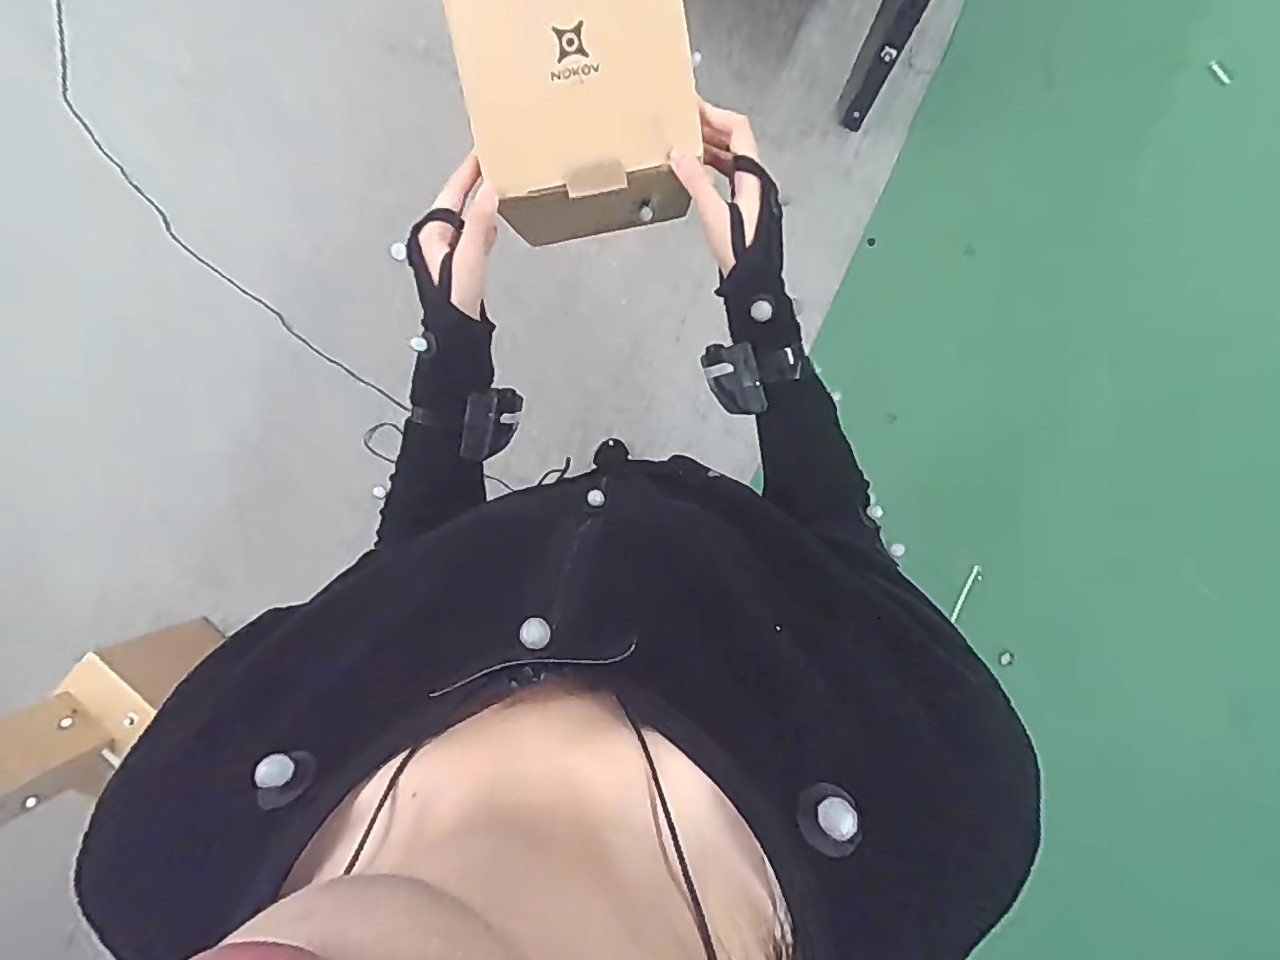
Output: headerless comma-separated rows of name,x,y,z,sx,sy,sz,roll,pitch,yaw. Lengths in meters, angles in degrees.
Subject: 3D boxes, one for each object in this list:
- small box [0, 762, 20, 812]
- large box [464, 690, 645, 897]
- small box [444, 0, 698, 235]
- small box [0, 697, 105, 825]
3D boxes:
small box,-1.366,0.617,1.019,0.179,0.176,0.168,44,94,1
large box,-0.210,0.770,1.380,0.408,0.320,0.320,10,92,1
small box,-0.048,-0.321,0.458,0.168,0.176,0.179,-9,102,2
small box,-1.350,0.619,1.181,0.168,0.176,0.179,43,93,1
